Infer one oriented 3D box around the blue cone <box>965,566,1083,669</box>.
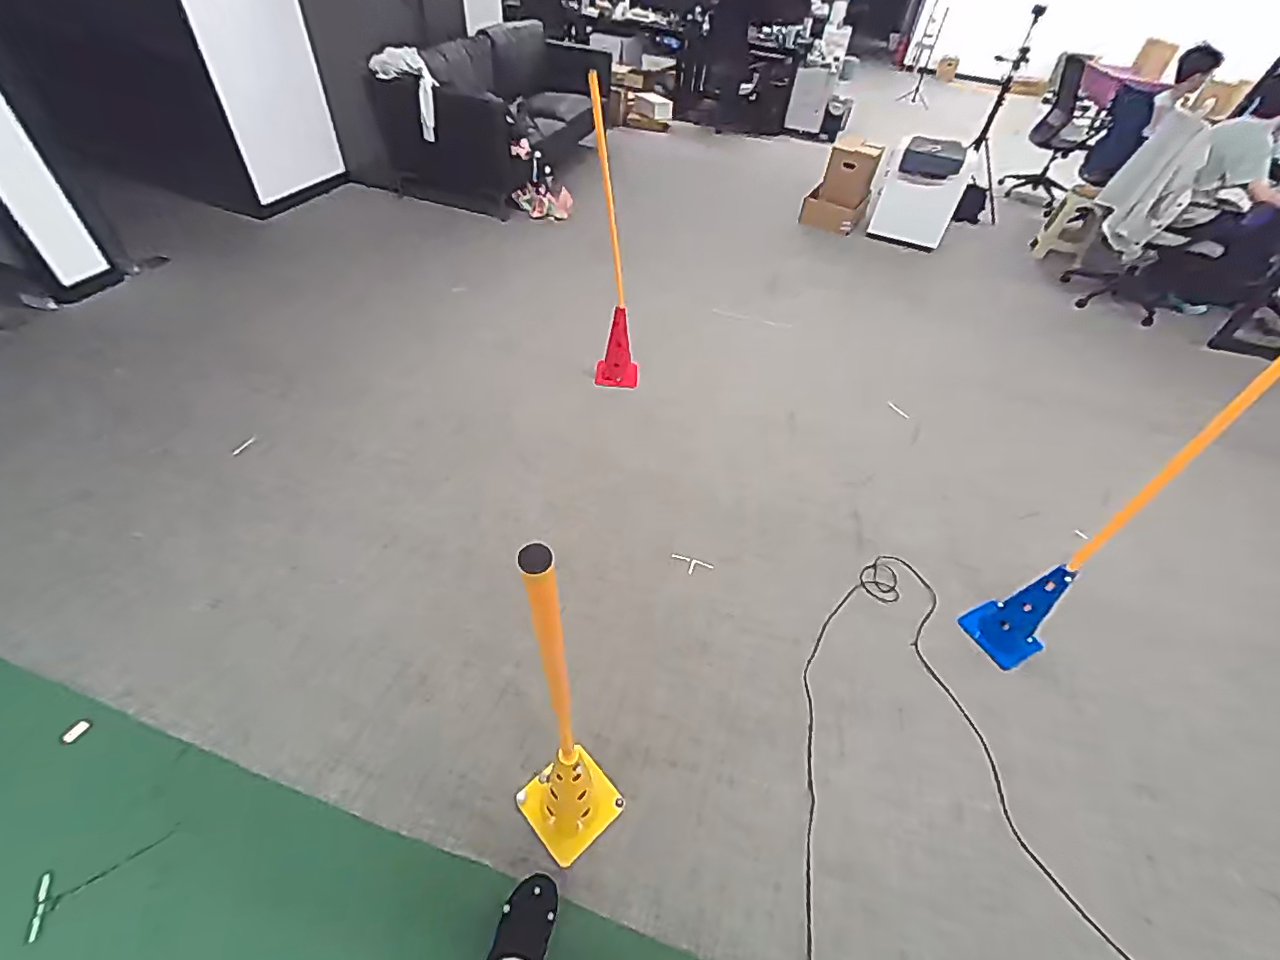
[{"bbox_3d":[1.187,0.381,1.635,0.193,0.380,0.192,-16,49,-24],"label":"blue cone"}]
